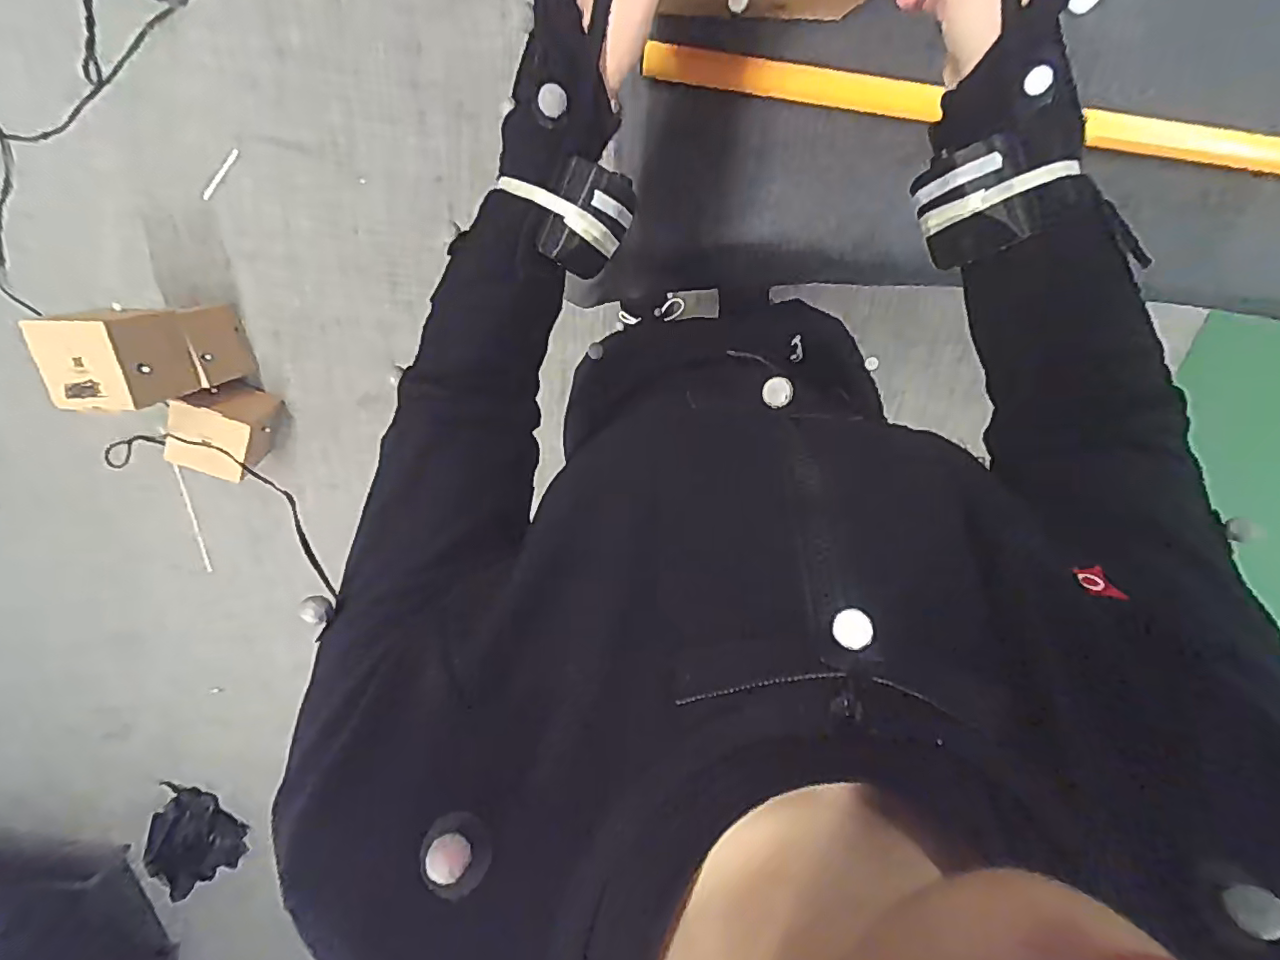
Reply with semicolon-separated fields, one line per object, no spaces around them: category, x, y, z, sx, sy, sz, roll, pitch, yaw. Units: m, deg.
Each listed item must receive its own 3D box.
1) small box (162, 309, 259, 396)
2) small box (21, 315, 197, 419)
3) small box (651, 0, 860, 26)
small box;-1.053;-0.297;1.266;0.179;0.176;0.168;-5;117;6
small box;-1.069;-0.235;1.110;0.168;0.176;0.179;2;114;2
small box;0.087;-0.411;0.334;0.168;0.176;0.179;-1;117;-3
